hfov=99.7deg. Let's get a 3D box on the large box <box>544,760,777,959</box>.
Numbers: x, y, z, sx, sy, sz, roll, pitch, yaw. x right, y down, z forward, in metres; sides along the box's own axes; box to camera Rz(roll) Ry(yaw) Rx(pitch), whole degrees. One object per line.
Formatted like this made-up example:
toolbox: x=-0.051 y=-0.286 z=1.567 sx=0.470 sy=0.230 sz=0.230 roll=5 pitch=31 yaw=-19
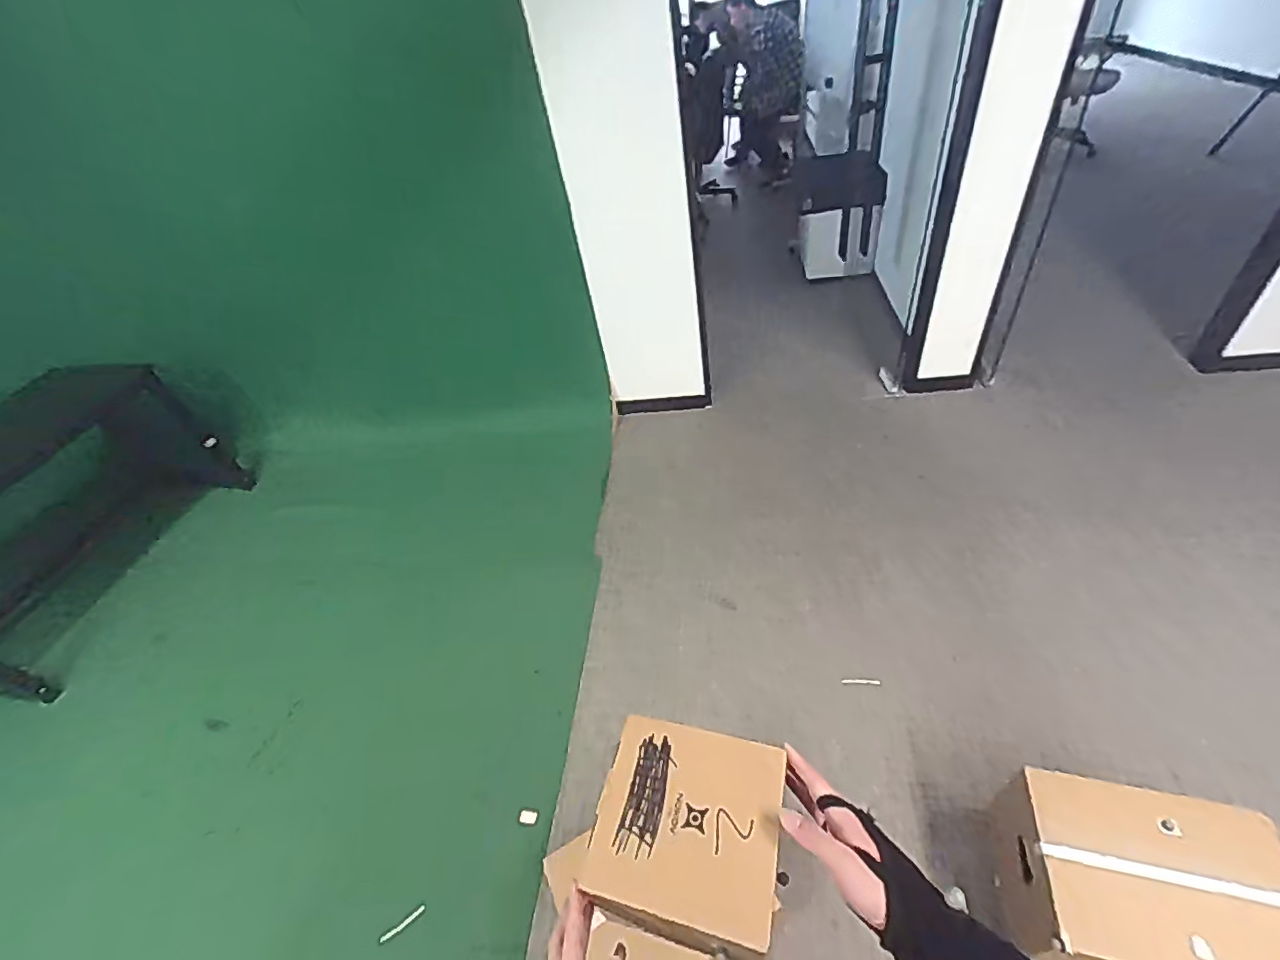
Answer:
large box: x=0.056 y=0.930 z=1.222 sx=0.408 sy=0.320 sz=0.320 roll=-27 pitch=44 yaw=-13
